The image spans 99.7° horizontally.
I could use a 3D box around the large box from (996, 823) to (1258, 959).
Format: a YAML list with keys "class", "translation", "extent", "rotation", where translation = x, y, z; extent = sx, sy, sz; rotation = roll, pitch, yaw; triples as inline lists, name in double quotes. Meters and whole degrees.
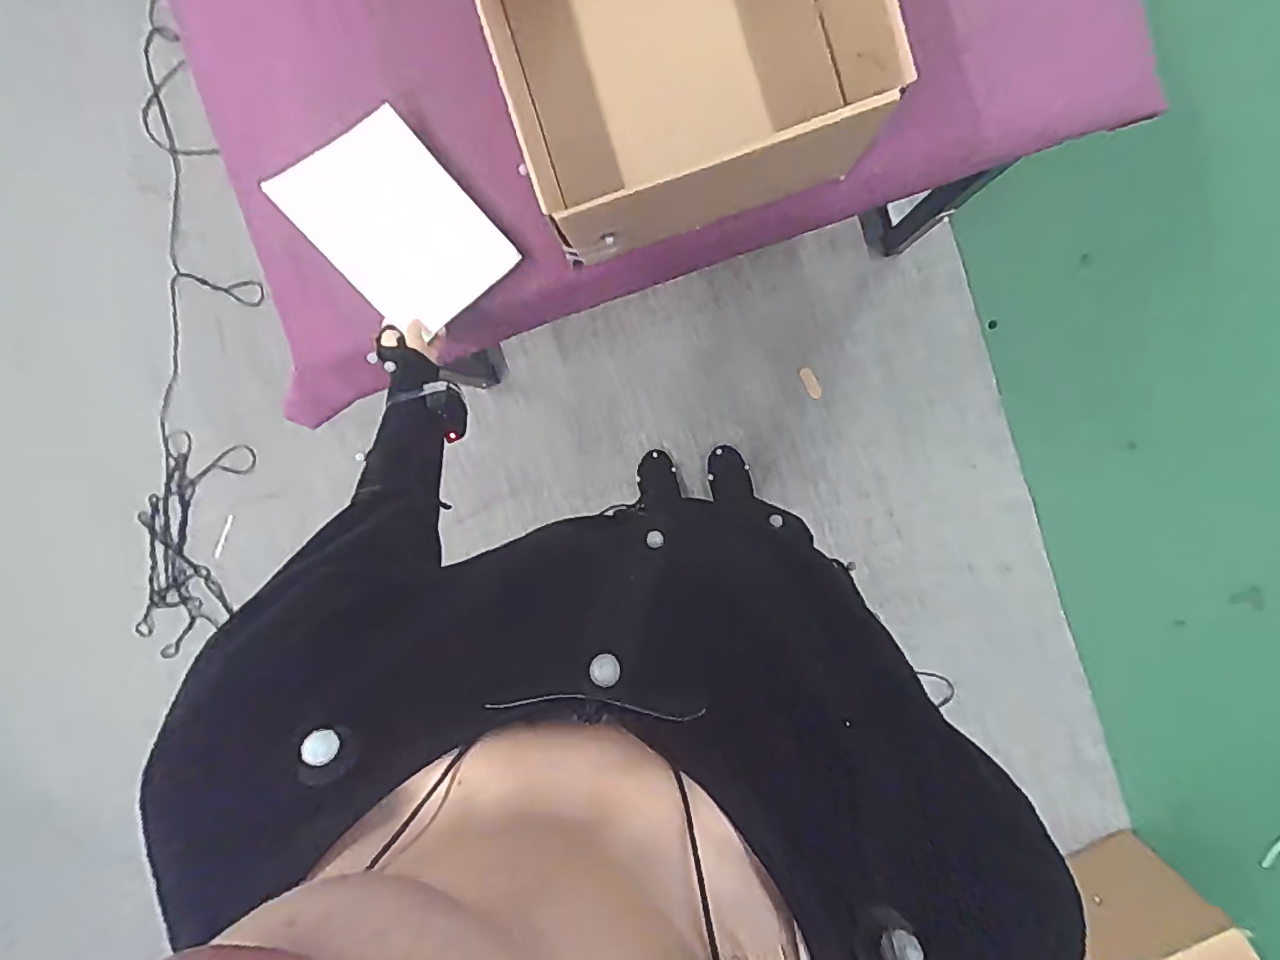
- class: "large box"
  translation: [1.250, 1.200, 1.389]
  extent: [0.408, 0.320, 0.320]
  rotation: [-33, 93, 5]
